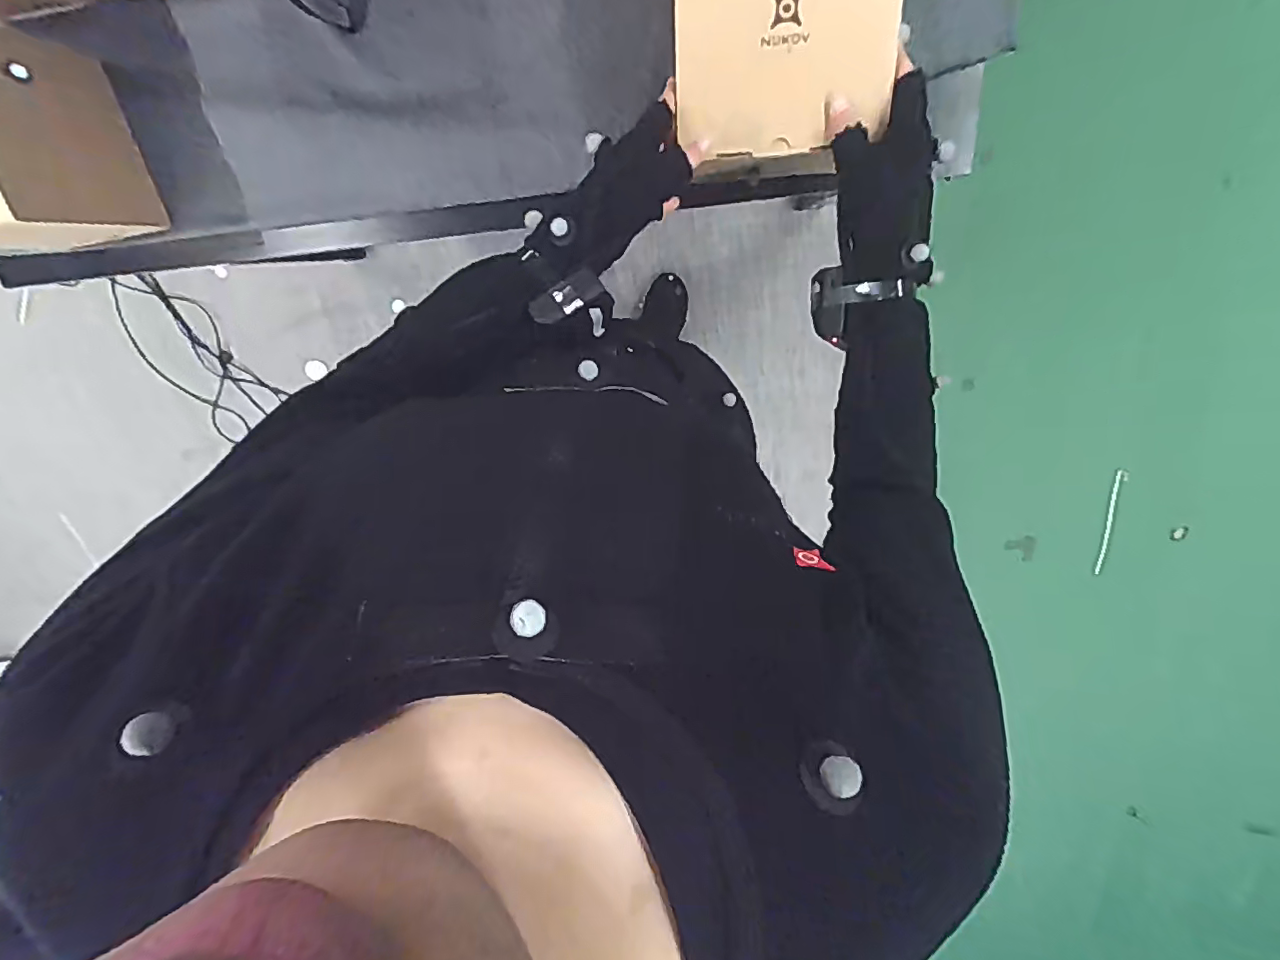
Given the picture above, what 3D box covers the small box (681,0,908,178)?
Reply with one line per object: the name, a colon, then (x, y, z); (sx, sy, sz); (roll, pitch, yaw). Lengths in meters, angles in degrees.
small box: (0.119, -0.374, 0.471); (0.168, 0.176, 0.179); (0, 115, 7)
